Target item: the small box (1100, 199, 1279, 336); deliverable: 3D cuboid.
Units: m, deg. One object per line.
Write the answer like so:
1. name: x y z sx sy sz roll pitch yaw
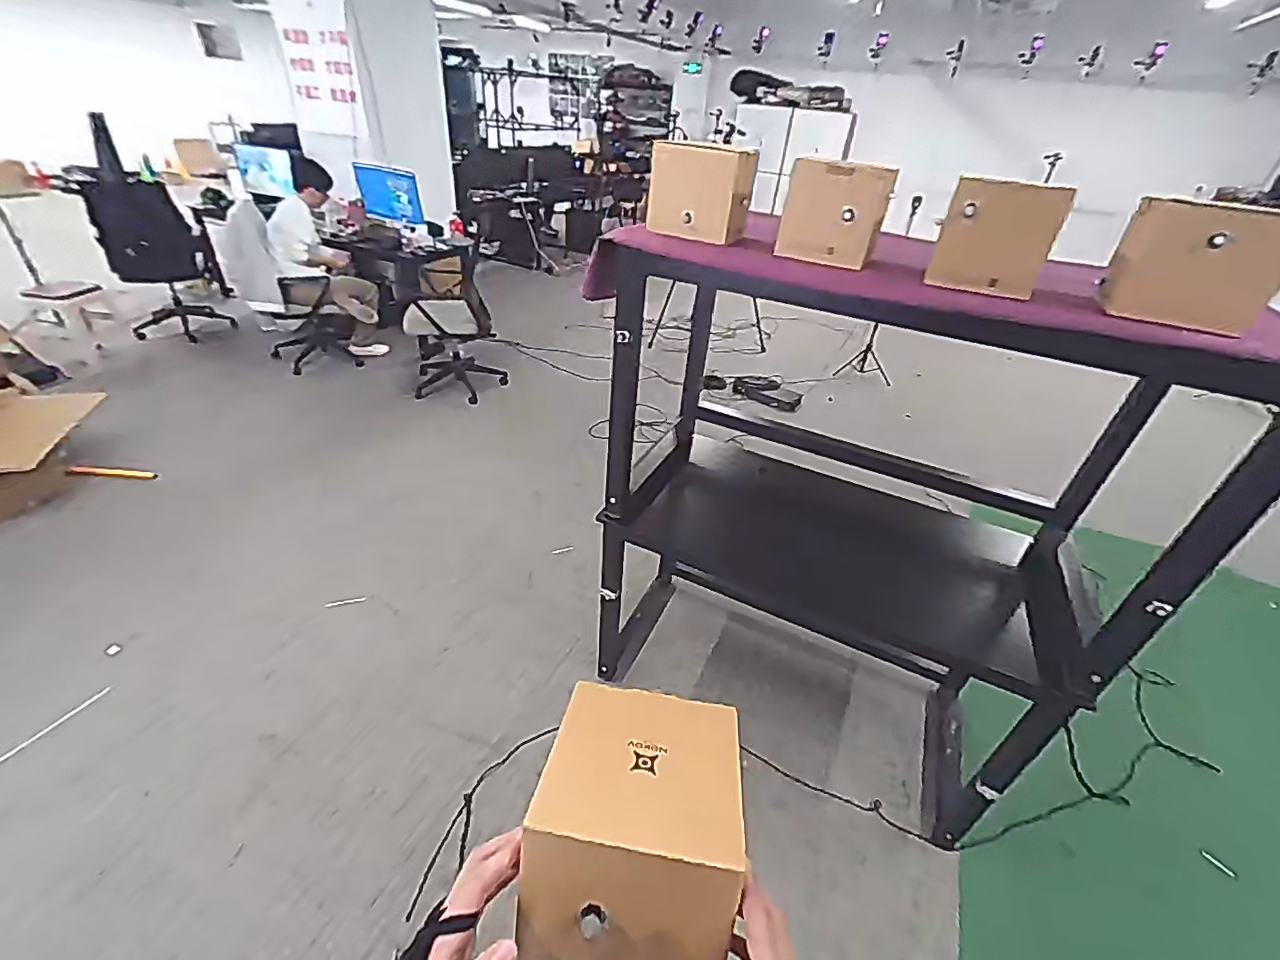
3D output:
1. small box: 0.872 -0.338 0.854 0.179 0.176 0.168 20 35 20

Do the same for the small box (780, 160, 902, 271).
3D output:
1. small box: 0.381 -0.509 1.039 0.168 0.176 0.179 21 36 21

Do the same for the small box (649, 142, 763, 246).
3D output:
1. small box: 0.135 -0.594 1.125 0.179 0.176 0.168 19 35 17

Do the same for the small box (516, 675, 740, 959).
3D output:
1. small box: -0.006 0.310 0.487 0.168 0.176 0.179 8 16 5
